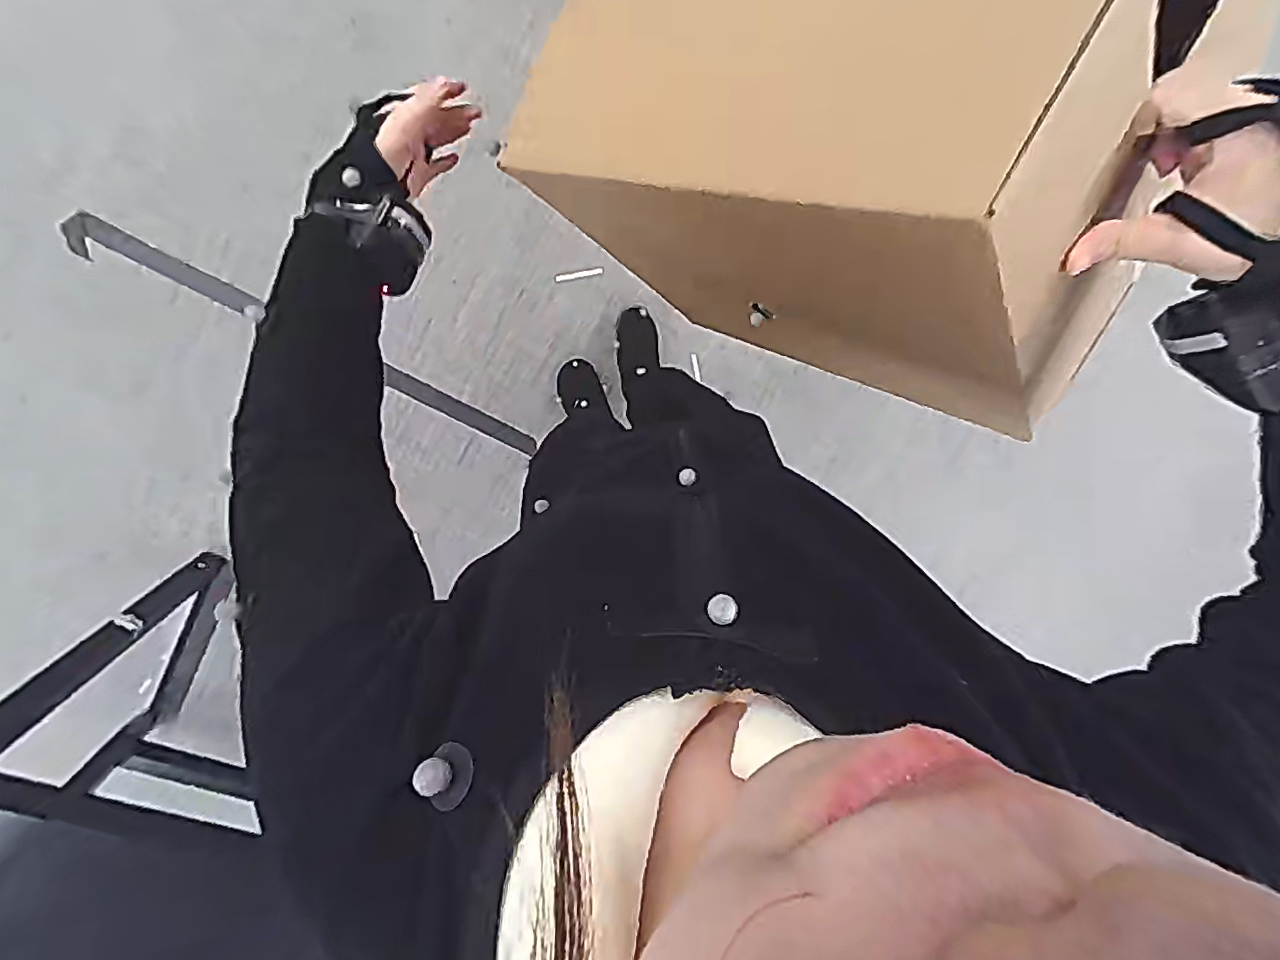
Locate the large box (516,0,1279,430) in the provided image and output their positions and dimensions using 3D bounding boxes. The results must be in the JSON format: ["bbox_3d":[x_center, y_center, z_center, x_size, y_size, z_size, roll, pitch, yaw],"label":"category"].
[{"bbox_3d":[0.180,-0.278,0.424,0.320,0.408,0.320,21,100,-48],"label":"large box"}]
